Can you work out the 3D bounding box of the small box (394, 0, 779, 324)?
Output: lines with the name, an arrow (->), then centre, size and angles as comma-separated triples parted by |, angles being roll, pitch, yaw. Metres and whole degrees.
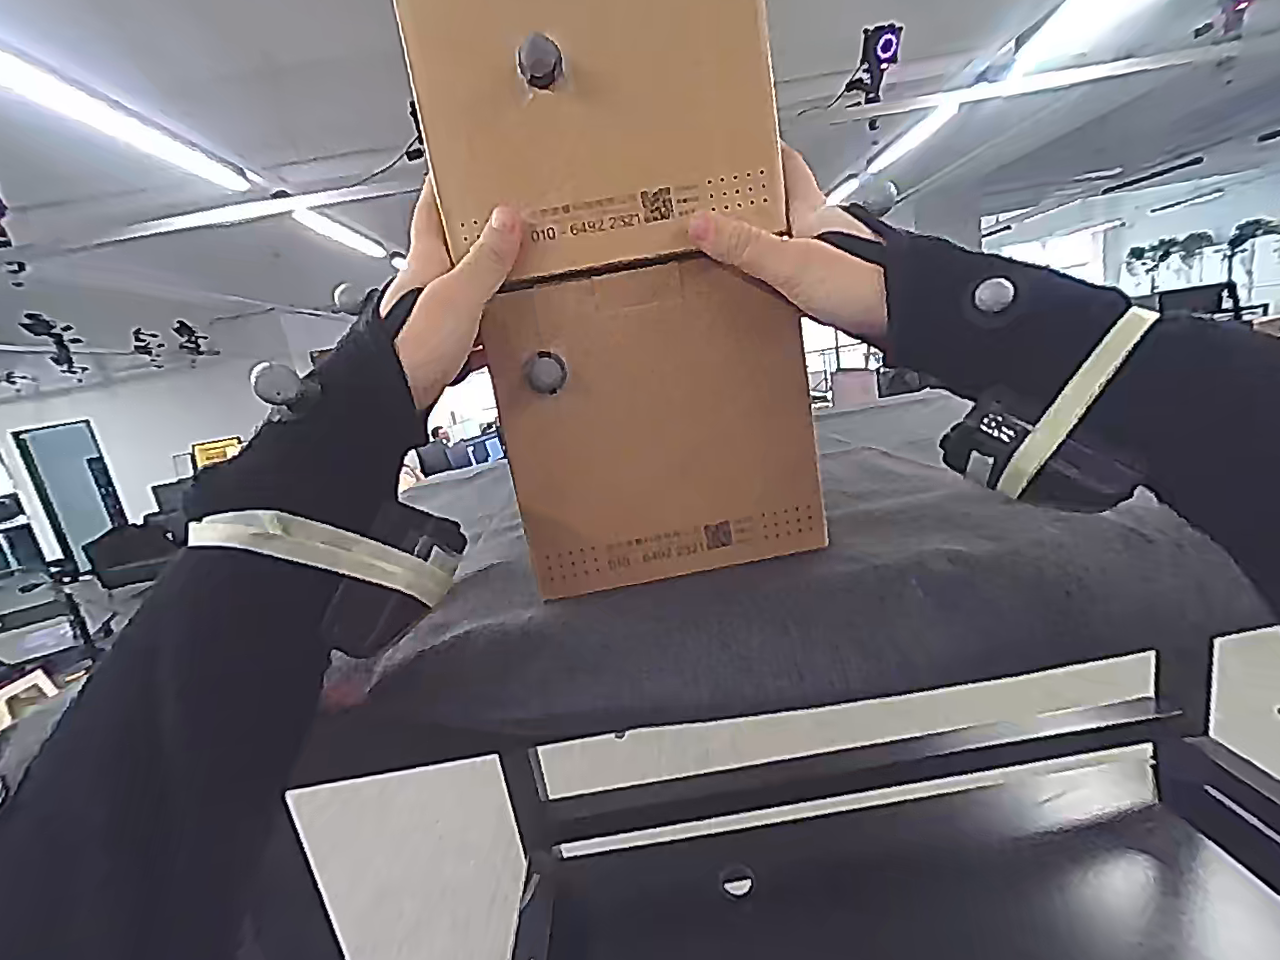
small box -> -0.023, -0.200, 0.331 | 0.168, 0.176, 0.179 | -10, 10, 1
